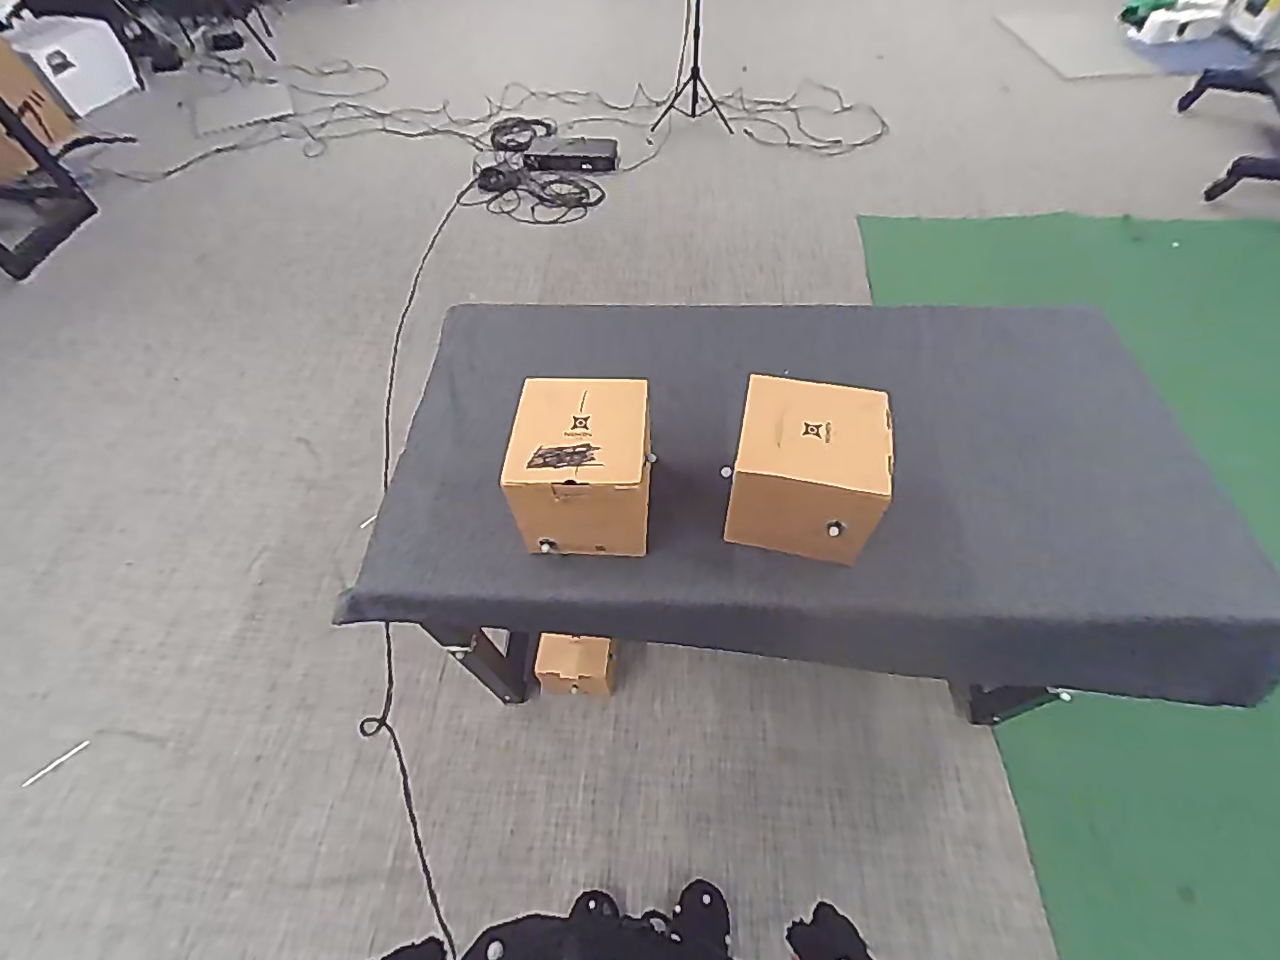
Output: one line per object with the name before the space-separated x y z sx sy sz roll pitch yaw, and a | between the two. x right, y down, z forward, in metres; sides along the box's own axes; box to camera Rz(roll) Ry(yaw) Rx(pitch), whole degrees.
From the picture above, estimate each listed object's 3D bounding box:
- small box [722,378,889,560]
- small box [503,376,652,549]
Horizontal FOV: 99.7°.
small box | 0.215 -0.009 0.726 0.179 0.176 0.168 10 55 10
small box | -0.071 -0.019 0.737 0.168 0.176 0.179 3 54 3
